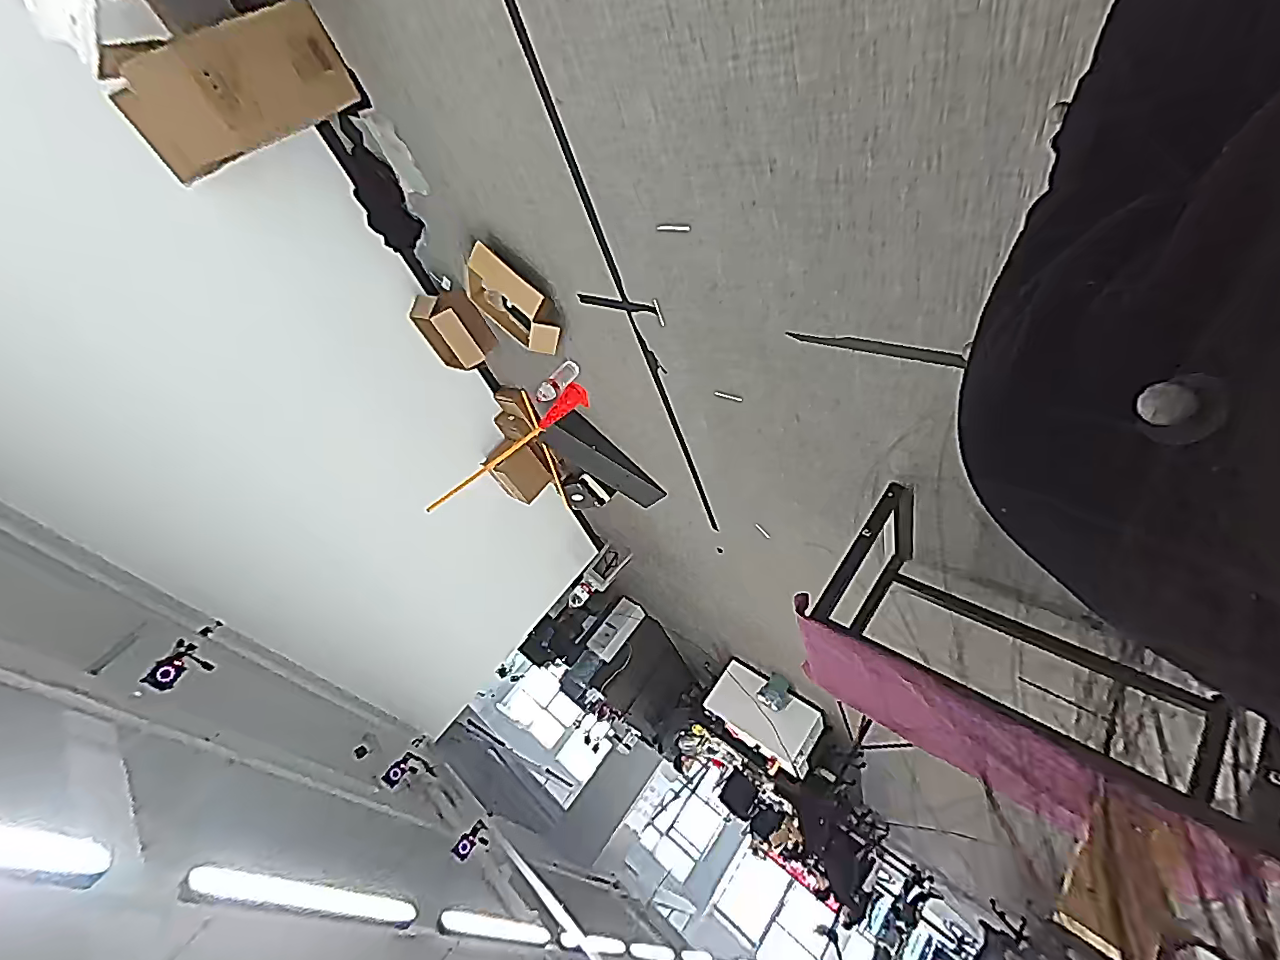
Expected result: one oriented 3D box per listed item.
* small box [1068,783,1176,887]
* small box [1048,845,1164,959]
[{"bbox_3d":[1.271,0.945,1.429,0.168,0.176,0.179,21,151,40],"label":"small box"},{"bbox_3d":[1.175,1.061,1.369,0.179,0.176,0.168,19,152,41],"label":"small box"}]
